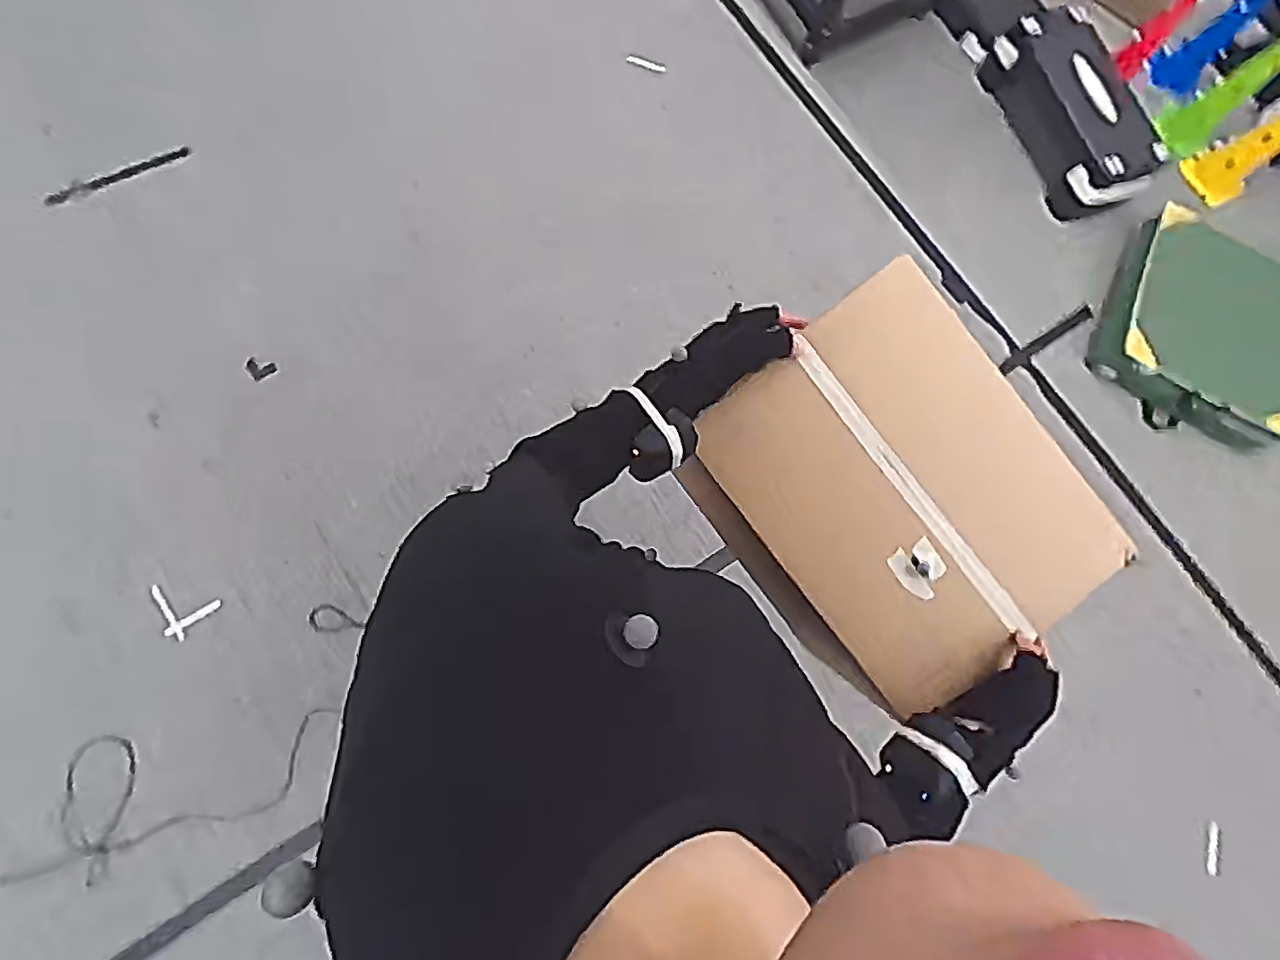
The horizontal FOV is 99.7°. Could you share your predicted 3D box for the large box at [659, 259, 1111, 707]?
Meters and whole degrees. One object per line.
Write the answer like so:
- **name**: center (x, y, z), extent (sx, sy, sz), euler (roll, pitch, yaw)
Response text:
- **large box**: center (0.273, 0.003, 0.735), extent (0.320, 0.320, 0.408), euler (-37, 91, -1)
